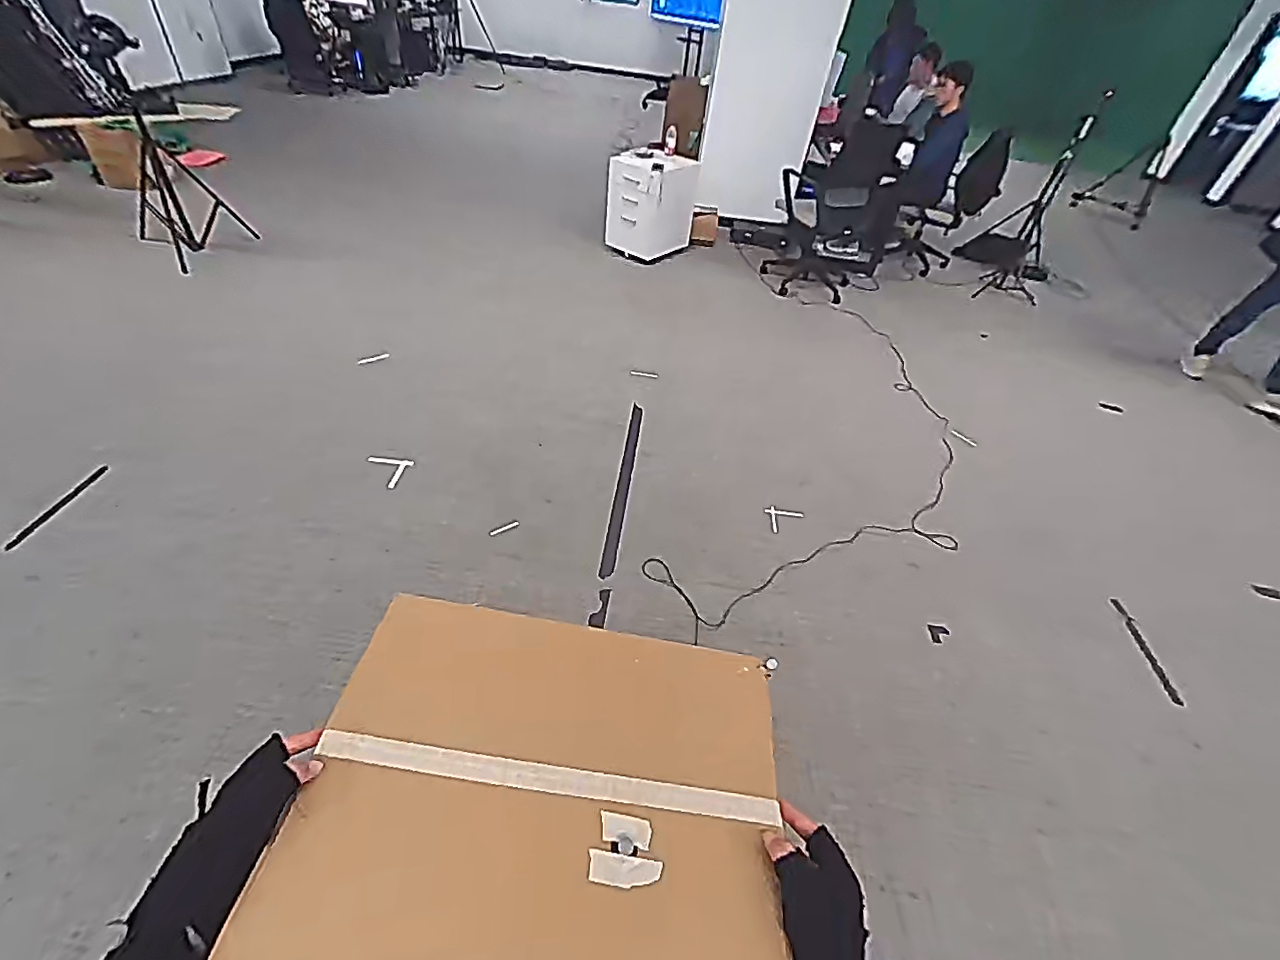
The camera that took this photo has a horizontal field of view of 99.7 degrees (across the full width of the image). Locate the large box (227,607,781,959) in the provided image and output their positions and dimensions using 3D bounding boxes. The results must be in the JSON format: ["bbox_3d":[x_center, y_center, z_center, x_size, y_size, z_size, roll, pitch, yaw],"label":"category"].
[{"bbox_3d":[-0.105,0.379,0.579,0.408,0.320,0.320,11,42,-3],"label":"large box"}]
